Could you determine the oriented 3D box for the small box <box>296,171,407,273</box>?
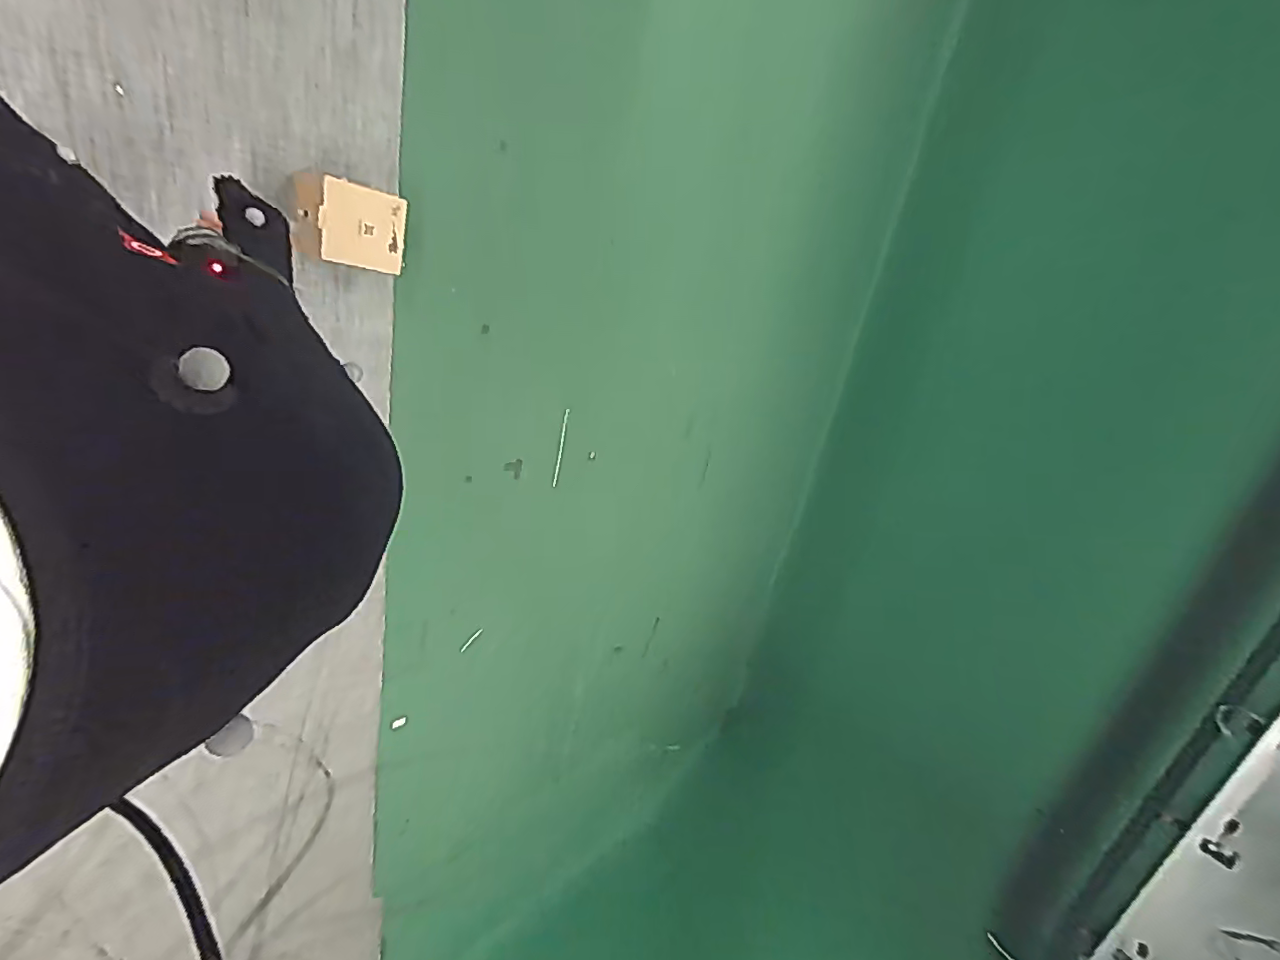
[{"bbox_3d":[-0.654,-0.579,1.219,0.179,0.176,0.168,-6,116,-48],"label":"small box"}]
